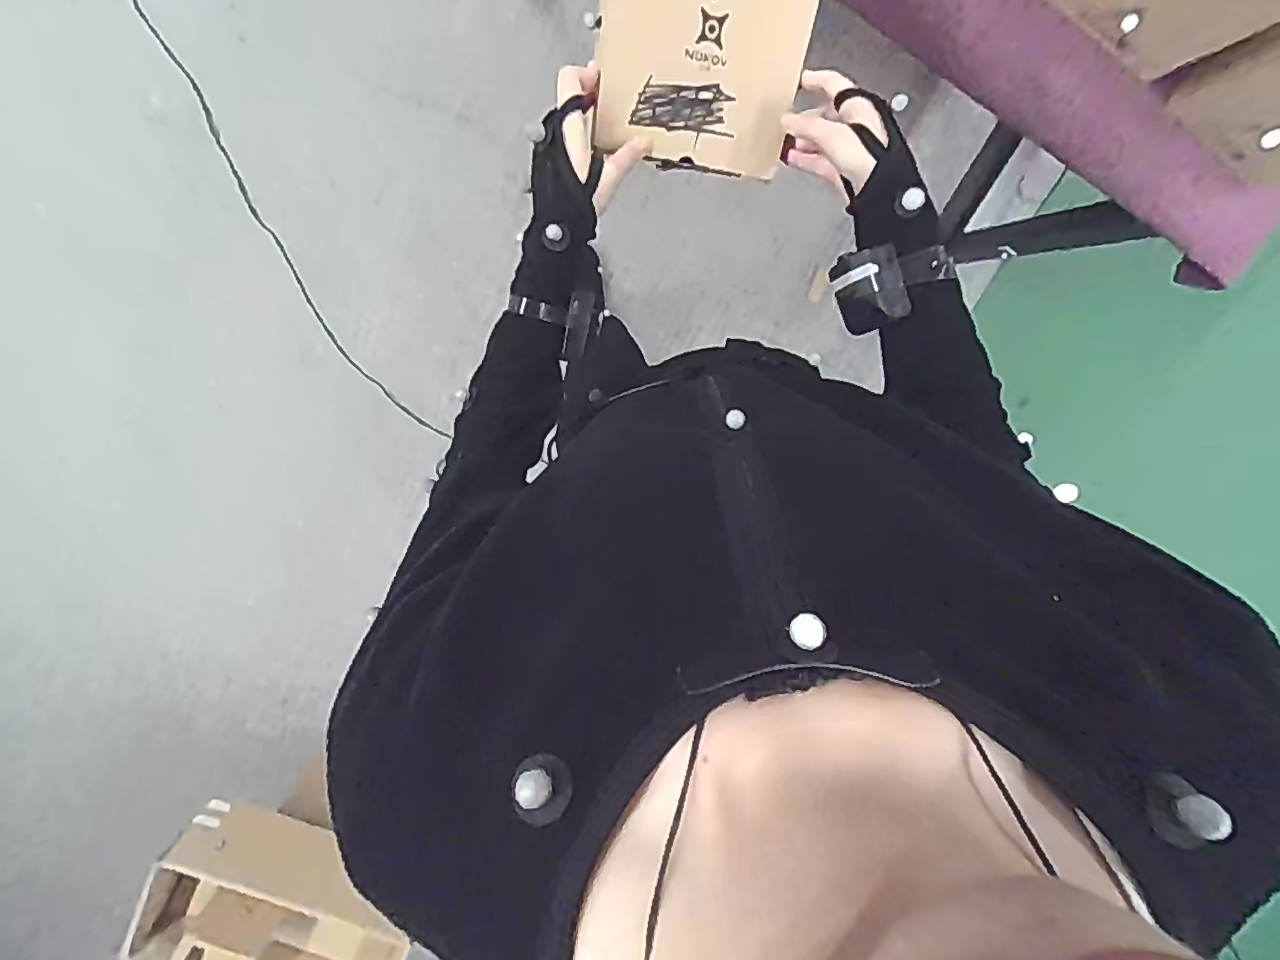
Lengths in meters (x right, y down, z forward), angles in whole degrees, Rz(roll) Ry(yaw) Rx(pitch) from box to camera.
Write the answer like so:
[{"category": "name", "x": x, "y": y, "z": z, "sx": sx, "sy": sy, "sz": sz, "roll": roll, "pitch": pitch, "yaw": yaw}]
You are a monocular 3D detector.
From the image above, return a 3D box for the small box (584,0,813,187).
[{"category": "small box", "x": 0.040, "y": -0.385, "z": 0.496, "sx": 0.168, "sy": 0.176, "sz": 0.179, "roll": 5, "pitch": 120, "yaw": -10}]
